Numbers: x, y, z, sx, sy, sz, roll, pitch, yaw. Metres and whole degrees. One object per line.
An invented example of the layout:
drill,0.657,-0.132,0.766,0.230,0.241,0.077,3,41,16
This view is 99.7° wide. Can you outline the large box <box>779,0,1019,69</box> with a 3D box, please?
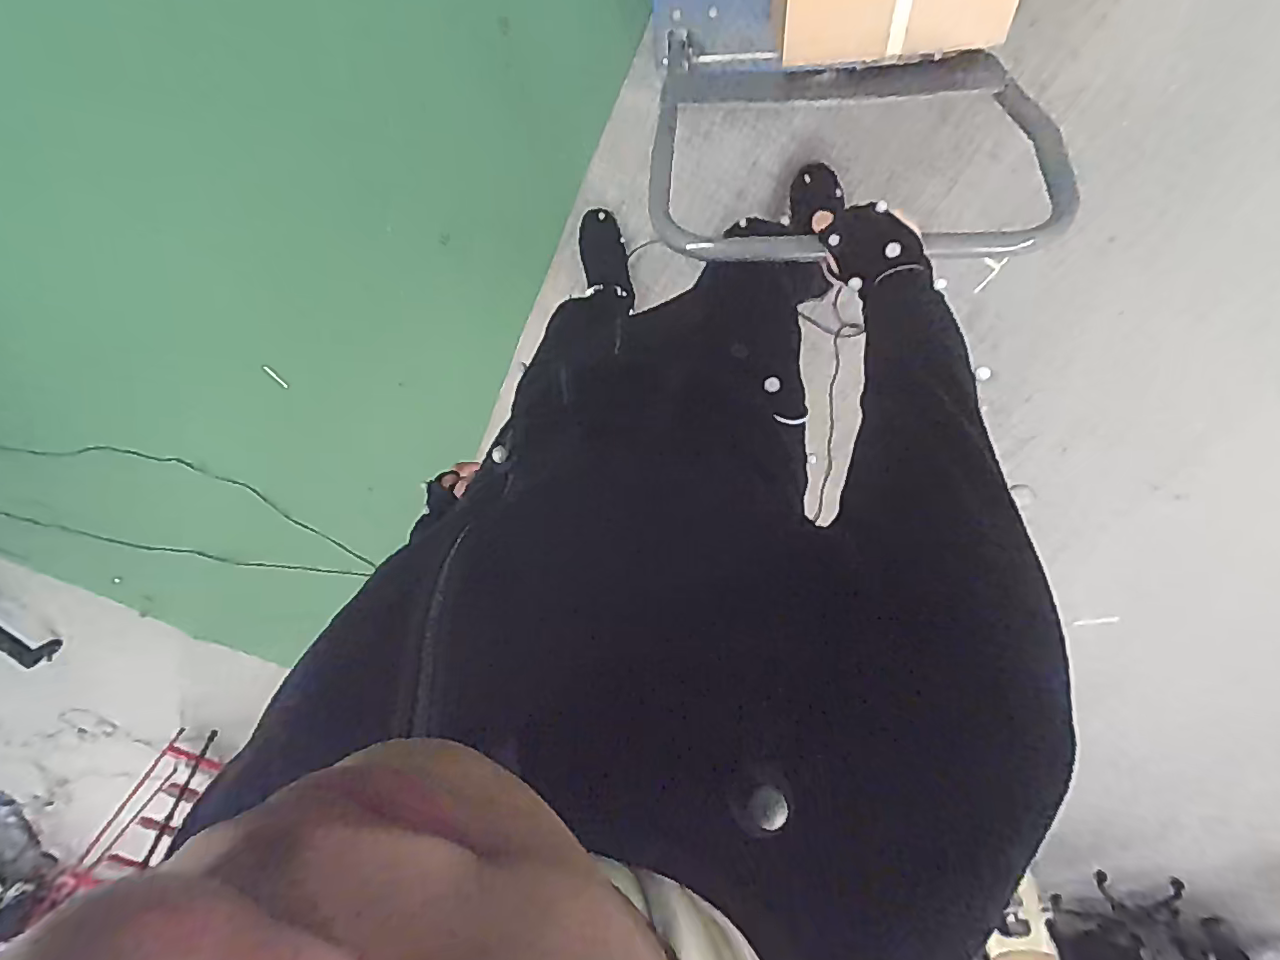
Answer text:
large box,0.370,-0.870,0.758,0.320,0.320,0.408,0,138,8
